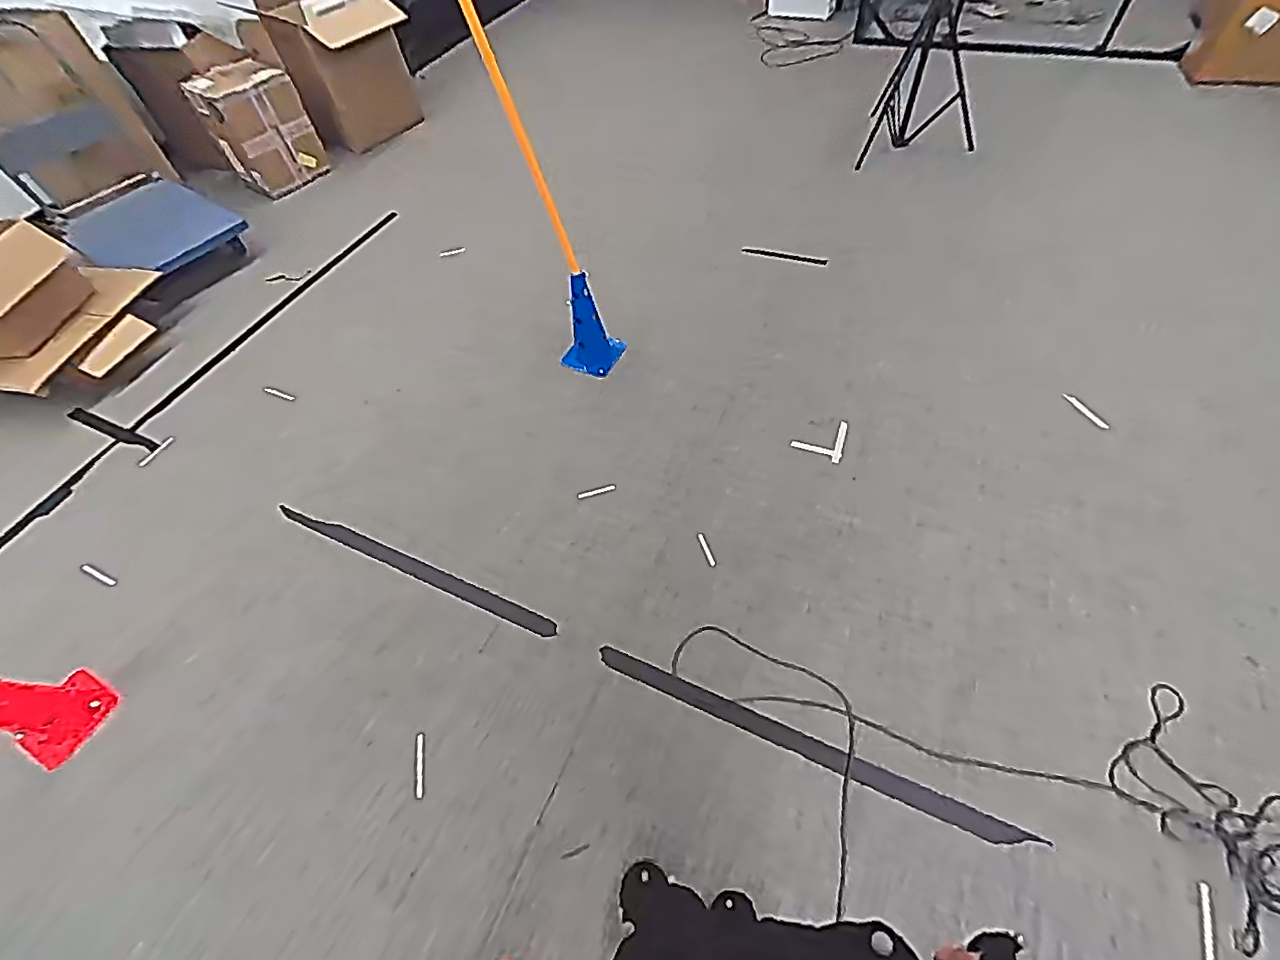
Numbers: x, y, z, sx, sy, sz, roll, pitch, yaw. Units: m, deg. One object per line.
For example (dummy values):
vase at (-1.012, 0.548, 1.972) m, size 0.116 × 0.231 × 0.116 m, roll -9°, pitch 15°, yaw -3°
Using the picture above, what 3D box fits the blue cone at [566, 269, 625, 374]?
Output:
blue cone at (-0.184, -0.578, 1.928) m, size 0.192 × 0.380 × 0.193 m, roll 22°, pitch 60°, yaw 19°

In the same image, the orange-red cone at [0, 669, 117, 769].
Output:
orange-red cone at (-1.516, 0.520, 1.272) m, size 0.199 × 0.360 × 0.198 m, roll 21°, pitch 59°, yaw 20°
